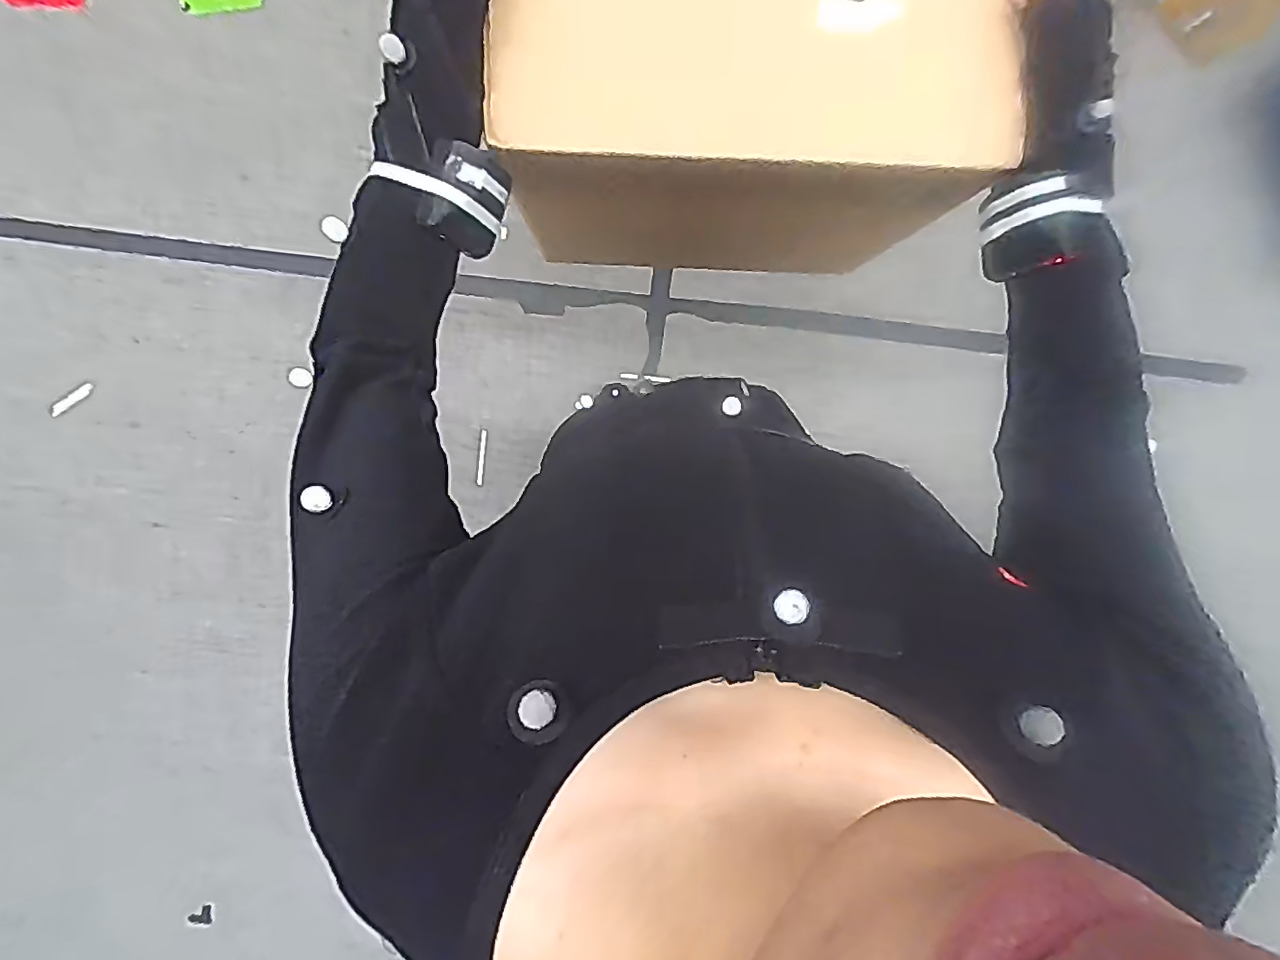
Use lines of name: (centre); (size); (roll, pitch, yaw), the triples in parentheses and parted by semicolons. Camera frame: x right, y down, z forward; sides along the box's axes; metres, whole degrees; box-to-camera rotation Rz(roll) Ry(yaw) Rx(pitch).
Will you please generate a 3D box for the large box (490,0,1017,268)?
large box: (0.080, -0.417, 0.545); (0.408, 0.320, 0.320); (1, 97, -3)
